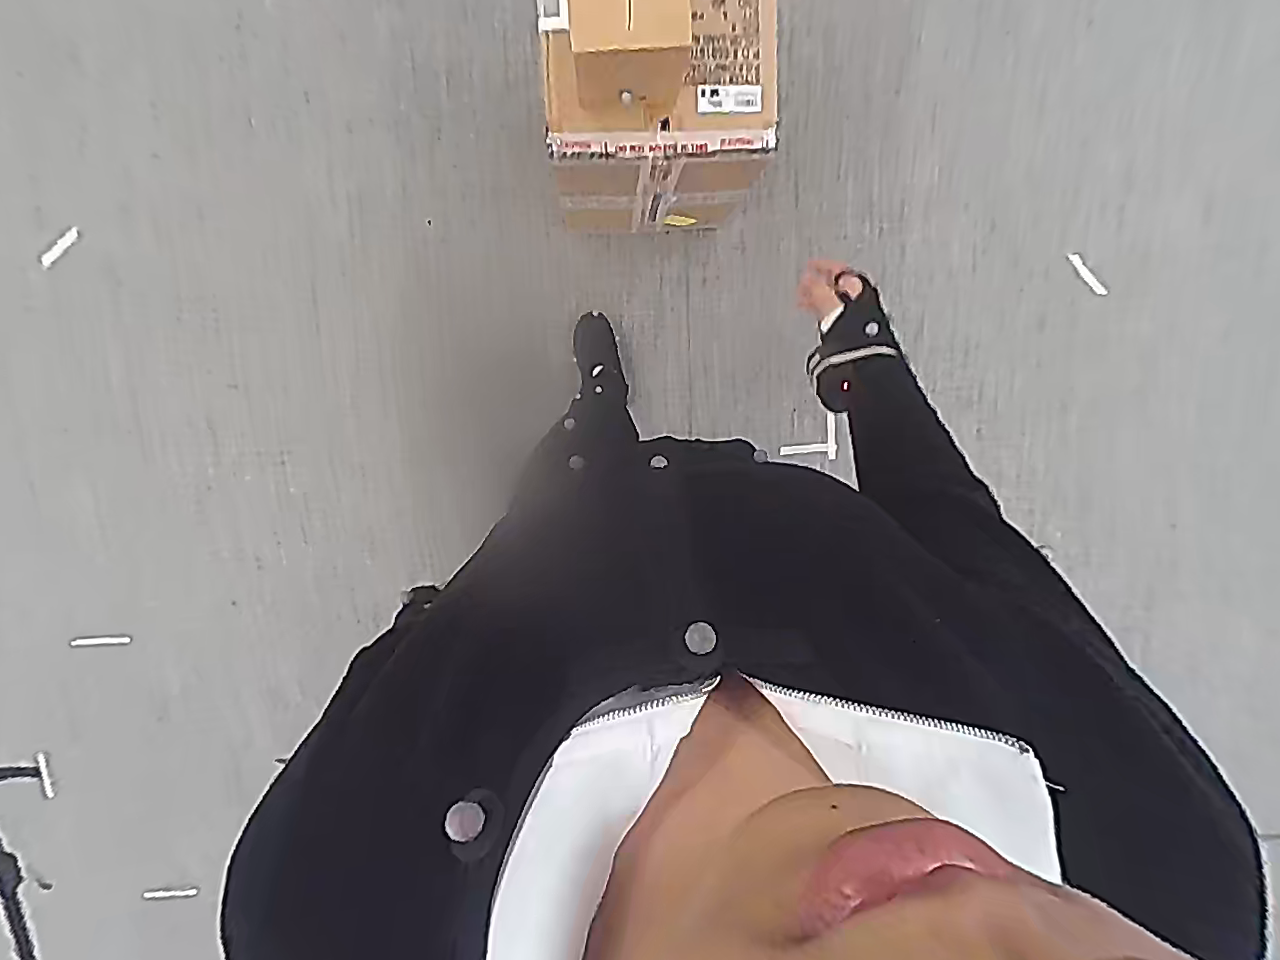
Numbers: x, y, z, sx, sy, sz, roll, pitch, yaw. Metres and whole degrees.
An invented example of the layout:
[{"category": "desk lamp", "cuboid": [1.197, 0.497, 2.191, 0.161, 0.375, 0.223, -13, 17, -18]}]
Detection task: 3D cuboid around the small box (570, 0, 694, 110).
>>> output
[{"category": "small box", "cuboid": [-0.017, -0.676, 0.787, 0.168, 0.176, 0.179, -5, 103, -1]}]
